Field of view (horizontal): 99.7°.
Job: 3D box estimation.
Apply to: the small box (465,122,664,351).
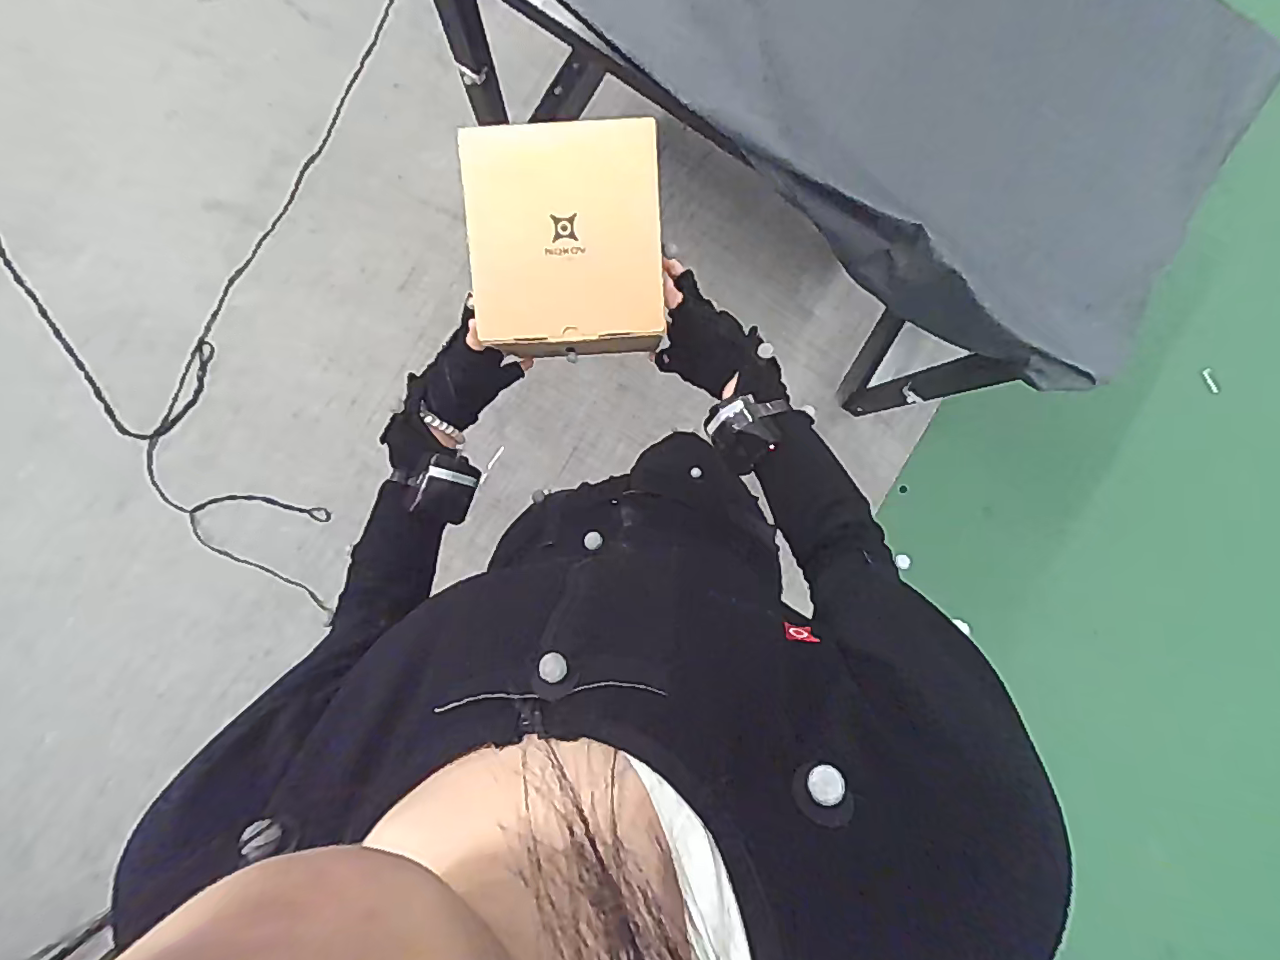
[{"bbox_3d":[-0.067,-0.228,0.548,0.168,0.176,0.179,-3,101,-1],"label":"small box"}]
